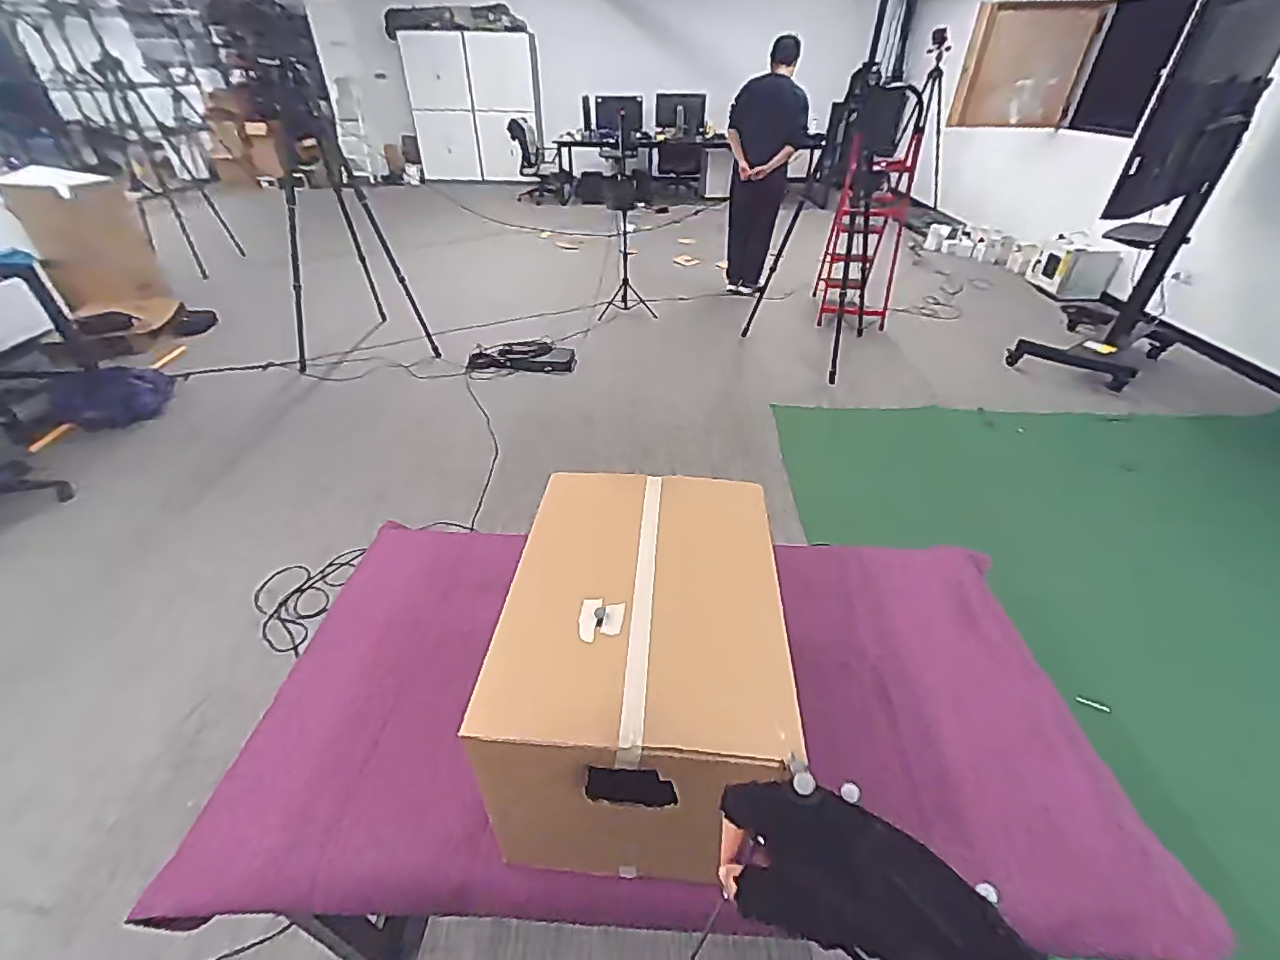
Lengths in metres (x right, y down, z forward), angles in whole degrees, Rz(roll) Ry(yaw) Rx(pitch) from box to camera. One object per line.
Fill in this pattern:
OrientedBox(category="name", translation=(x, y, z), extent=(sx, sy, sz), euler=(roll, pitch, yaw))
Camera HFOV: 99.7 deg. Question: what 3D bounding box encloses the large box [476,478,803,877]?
OrientedBox(category="large box", translation=(0.006, 0.245, 0.741), extent=(0.320, 0.320, 0.408), euler=(4, 38, 3))
